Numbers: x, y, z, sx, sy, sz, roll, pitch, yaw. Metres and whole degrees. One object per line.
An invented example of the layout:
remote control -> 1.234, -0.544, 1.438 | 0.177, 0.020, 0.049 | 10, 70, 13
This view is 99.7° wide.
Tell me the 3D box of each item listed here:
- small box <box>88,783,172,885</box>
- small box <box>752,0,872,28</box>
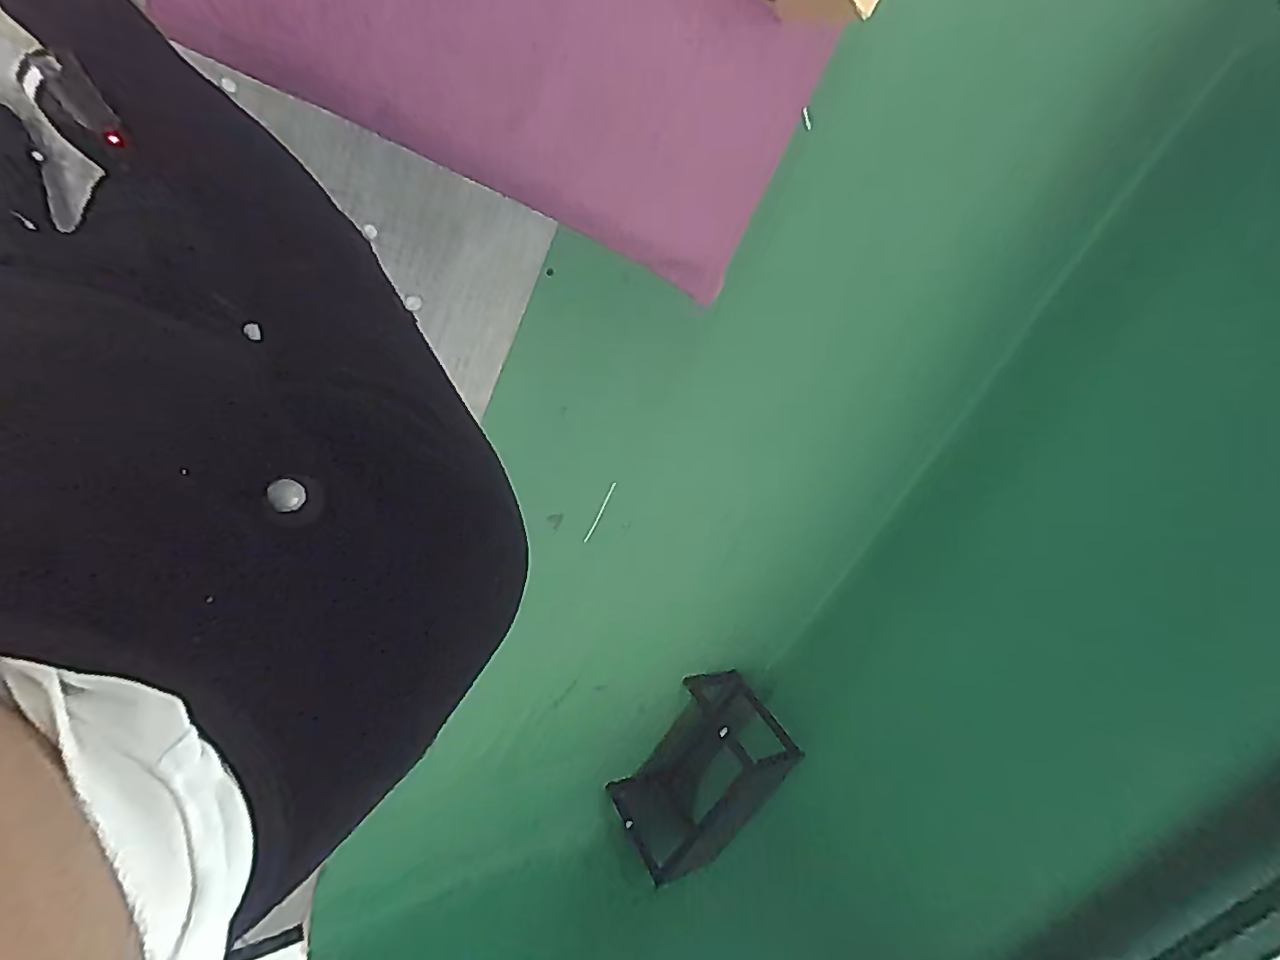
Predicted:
small box -> -1.519, 1.051, 1.617 | 0.168, 0.176, 0.179 | 6, 120, -42
small box -> 0.231, -0.735, 0.700 | 0.168, 0.176, 0.179 | 10, 118, -40
